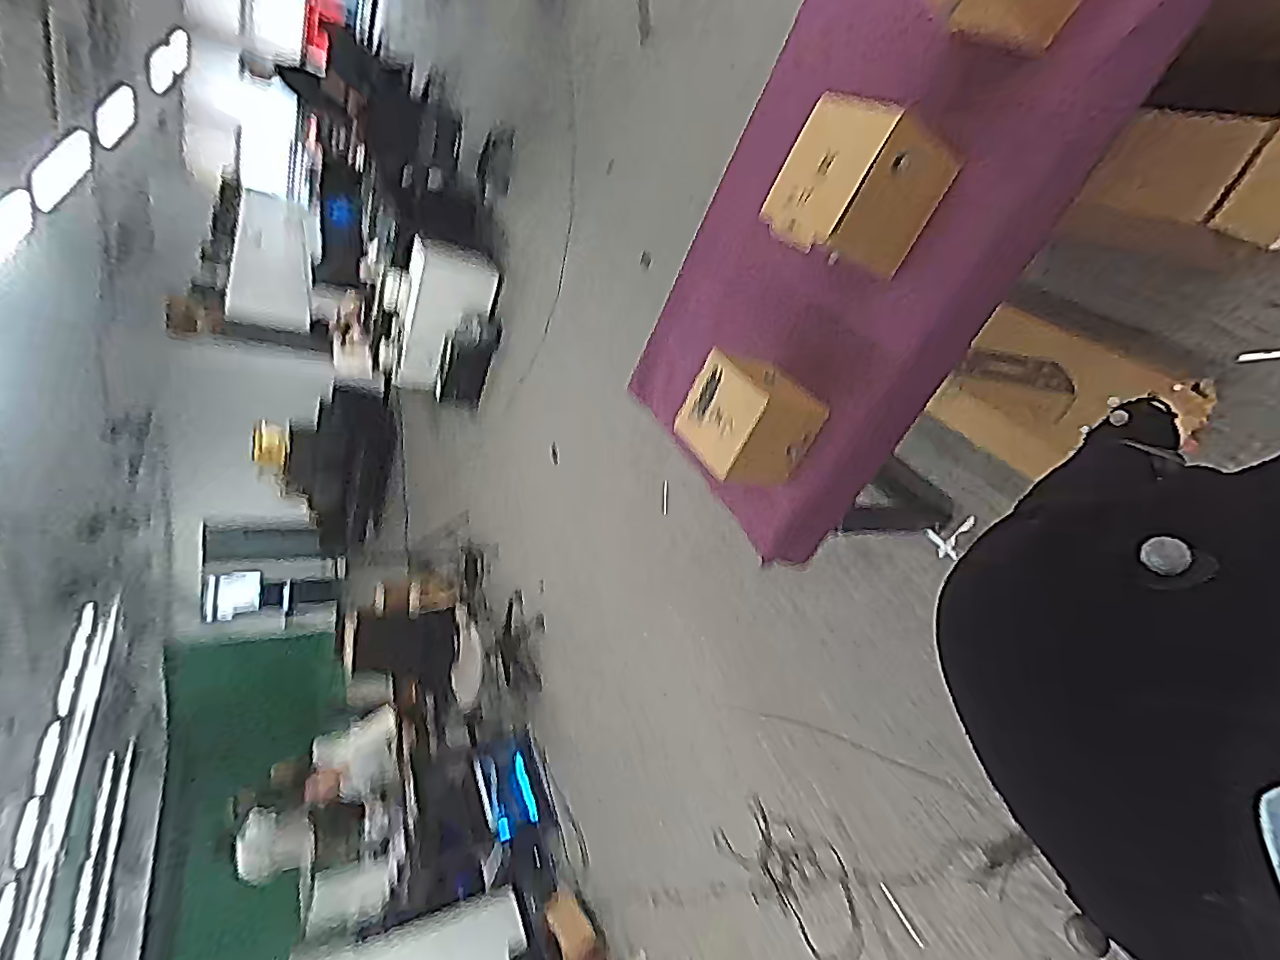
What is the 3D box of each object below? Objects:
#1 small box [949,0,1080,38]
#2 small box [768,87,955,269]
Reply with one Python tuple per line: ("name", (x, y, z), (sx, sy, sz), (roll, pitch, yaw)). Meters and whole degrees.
("small box", (0.473, -0.687, 0.655), (0.179, 0.176, 0.168), (-58, 45, 34))
("small box", (0.338, -0.452, 0.823), (0.168, 0.176, 0.179), (57, 131, 43))
